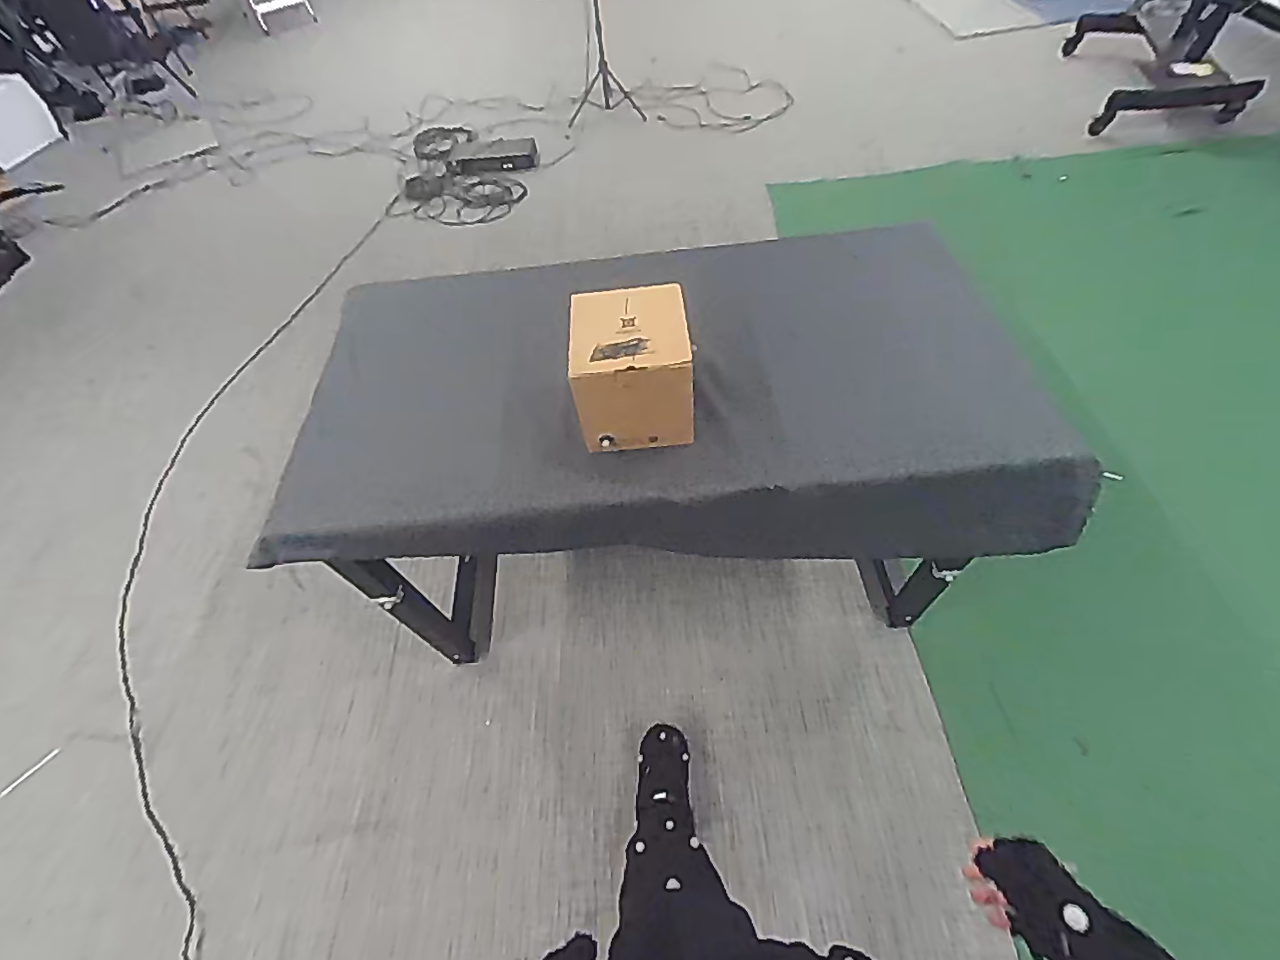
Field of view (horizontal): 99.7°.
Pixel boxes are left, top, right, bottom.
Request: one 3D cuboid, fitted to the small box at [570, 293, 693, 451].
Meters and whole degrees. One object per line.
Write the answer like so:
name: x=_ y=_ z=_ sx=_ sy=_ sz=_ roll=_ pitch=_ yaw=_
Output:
small box: x=-0.008 y=-0.157 z=0.828 sx=0.168 sy=0.176 sz=0.179 roll=-5 pitch=54 yaw=2
